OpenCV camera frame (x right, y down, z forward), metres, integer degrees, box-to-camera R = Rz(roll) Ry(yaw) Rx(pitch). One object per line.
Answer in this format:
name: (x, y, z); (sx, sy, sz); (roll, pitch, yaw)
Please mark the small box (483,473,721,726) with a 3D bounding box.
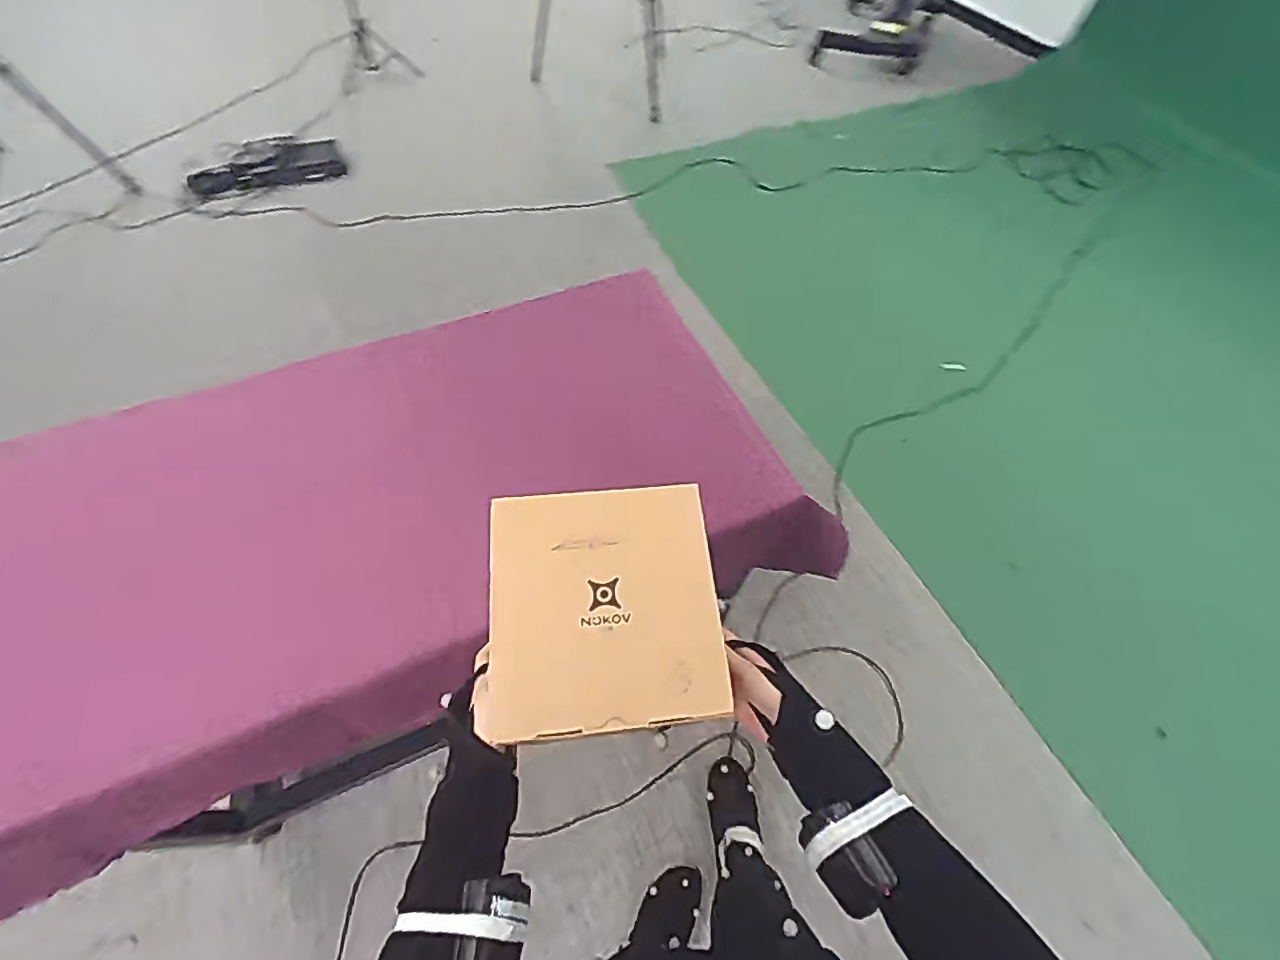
small box: (-0.036, 0.112, 0.471); (0.168, 0.176, 0.179); (-4, 64, -6)
